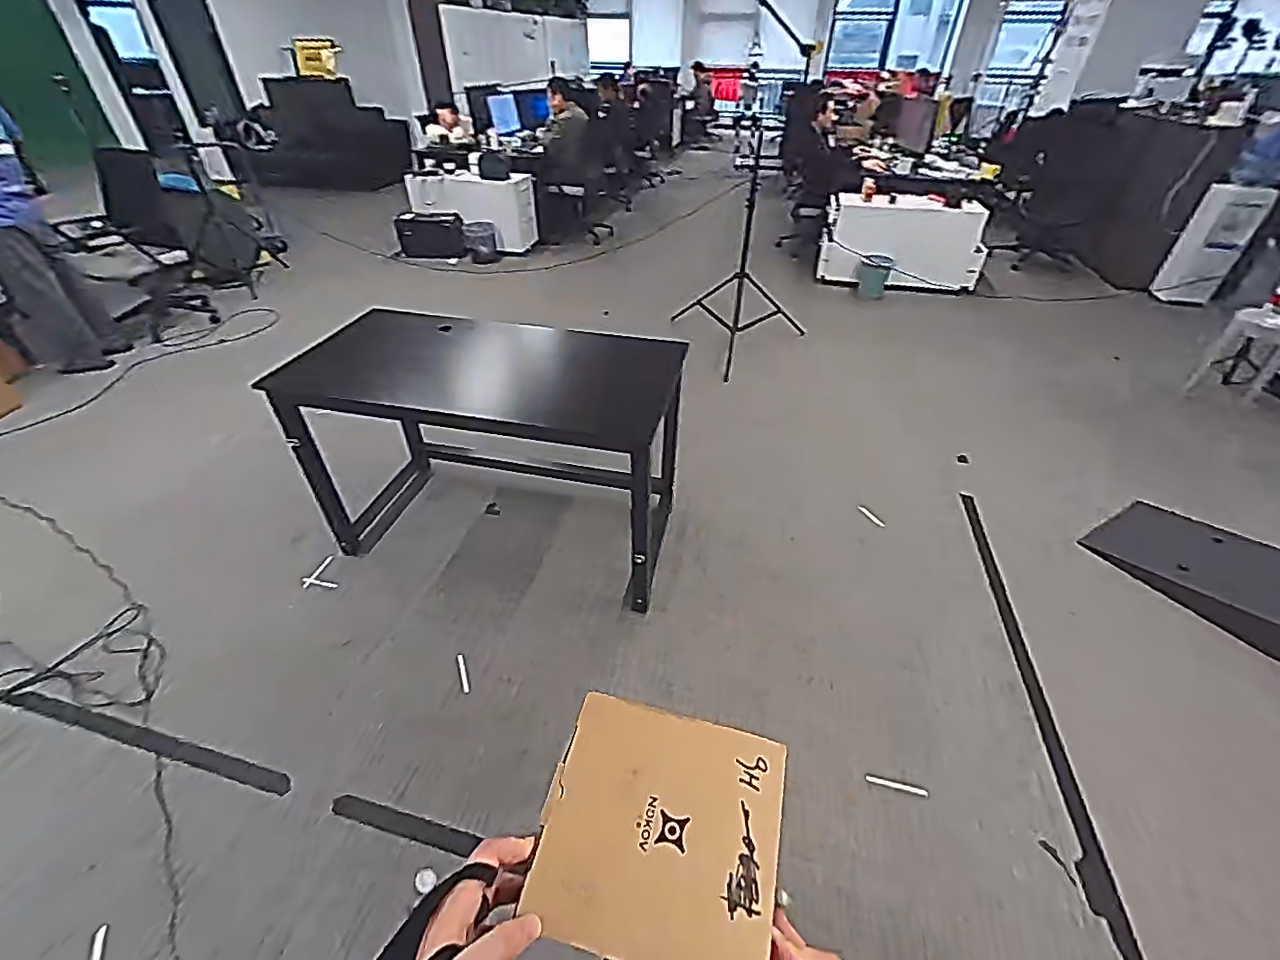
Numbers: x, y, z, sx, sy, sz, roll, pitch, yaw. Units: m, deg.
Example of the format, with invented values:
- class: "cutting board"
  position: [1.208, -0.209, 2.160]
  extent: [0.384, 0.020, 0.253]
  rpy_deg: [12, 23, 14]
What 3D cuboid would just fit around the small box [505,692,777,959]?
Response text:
- class: "small box"
  position: [0.010, 0.313, 0.468]
  extent: [0.179, 0.176, 0.168]
  rpy_deg: [11, 49, 10]
